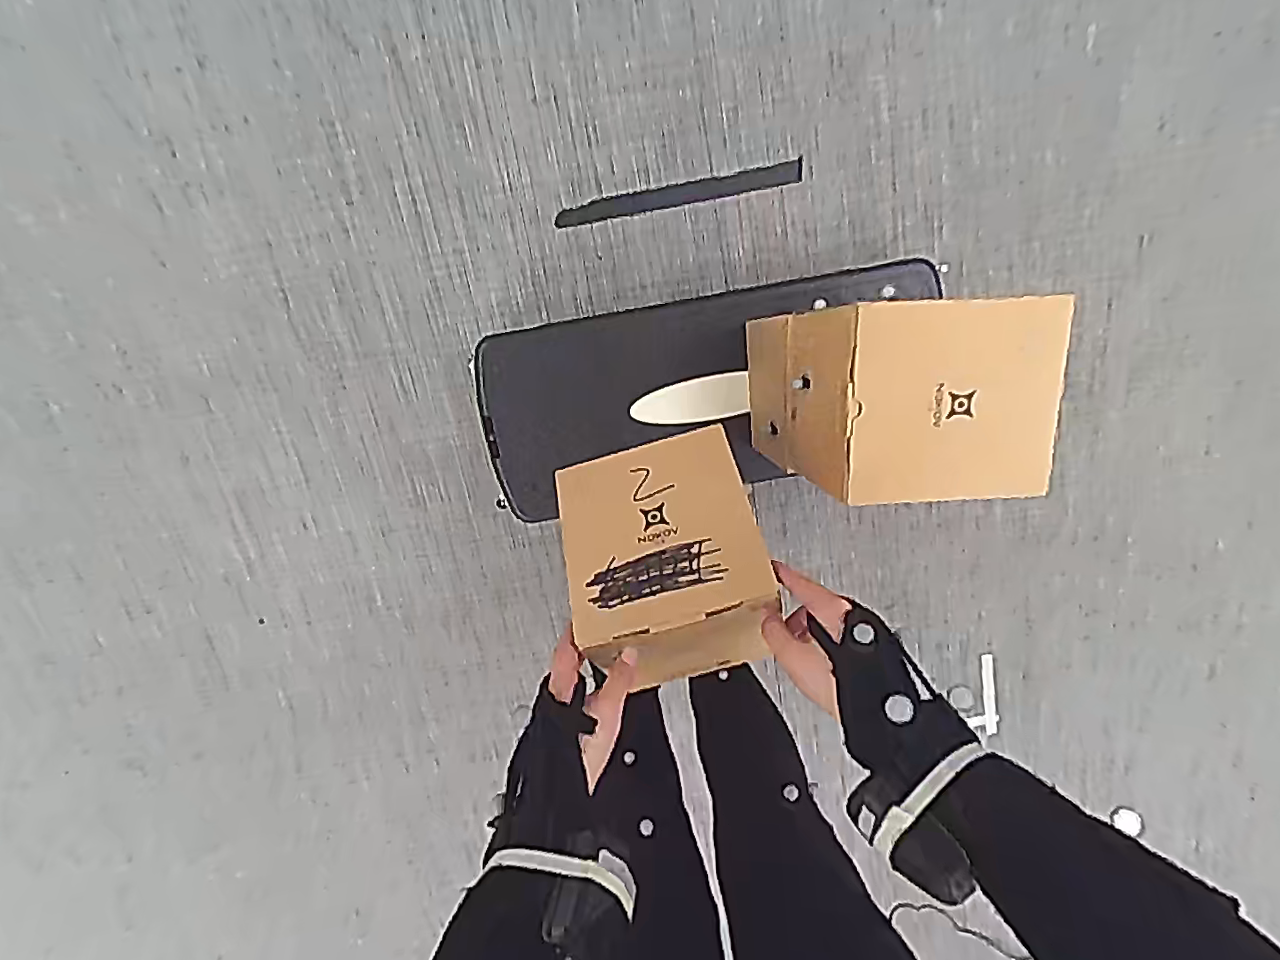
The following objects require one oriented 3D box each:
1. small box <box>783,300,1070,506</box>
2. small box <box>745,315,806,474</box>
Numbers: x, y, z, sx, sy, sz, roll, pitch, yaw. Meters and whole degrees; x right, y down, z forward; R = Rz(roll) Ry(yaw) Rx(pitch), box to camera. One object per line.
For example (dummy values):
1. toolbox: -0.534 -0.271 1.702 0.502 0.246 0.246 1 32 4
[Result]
1. small box: 0.250 -0.080 0.516 0.179 0.176 0.168 -3 104 -1
2. small box: 0.232 -0.117 0.675 0.168 0.176 0.179 -6 104 -1
